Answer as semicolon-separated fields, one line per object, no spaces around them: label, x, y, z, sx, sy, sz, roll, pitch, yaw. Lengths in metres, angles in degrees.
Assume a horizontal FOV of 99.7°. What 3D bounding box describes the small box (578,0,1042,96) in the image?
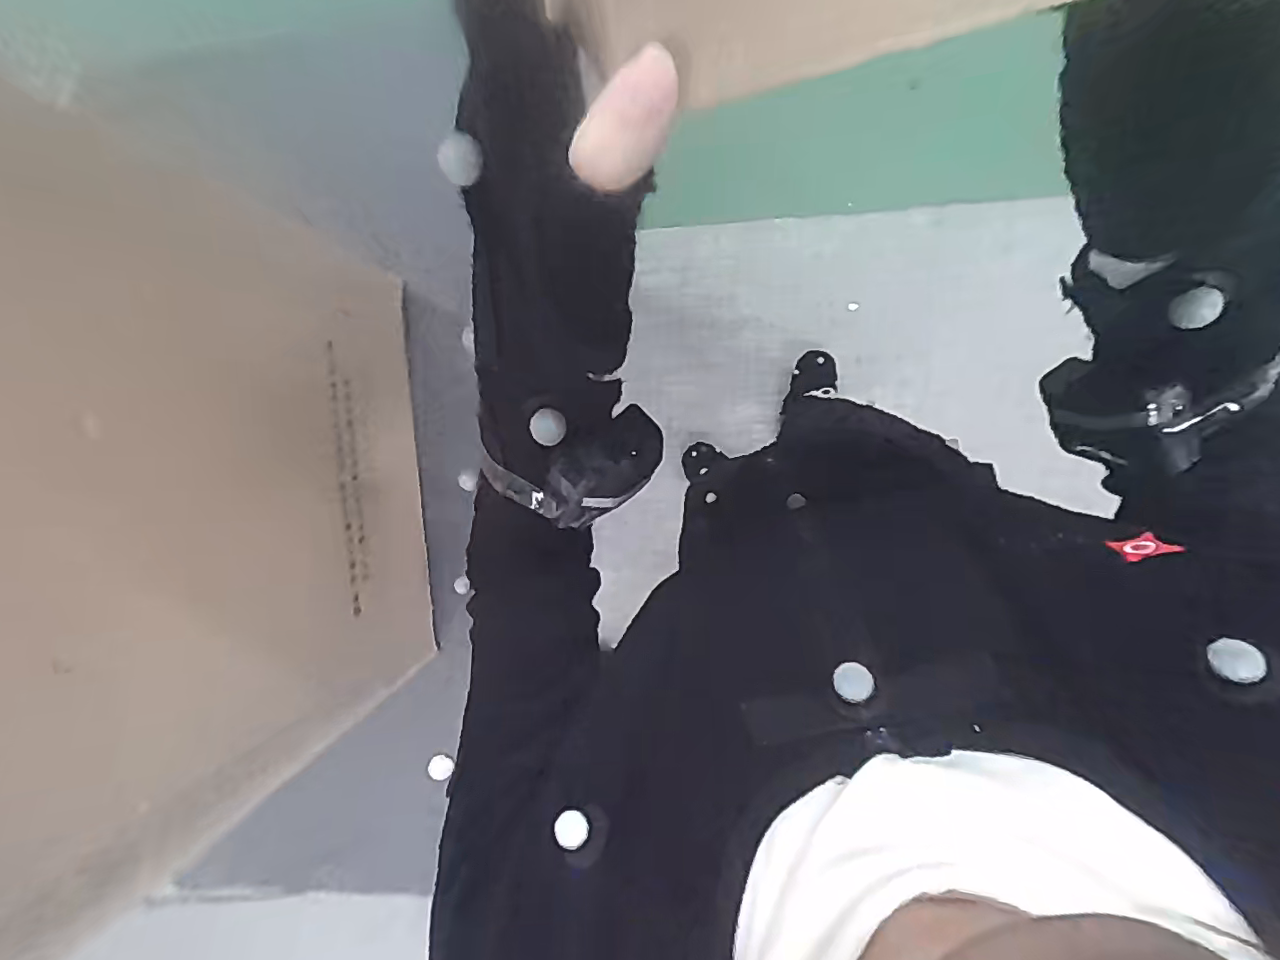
small box;0.054;-0.240;0.145;0.179;0.168;0.176;-14;49;0
